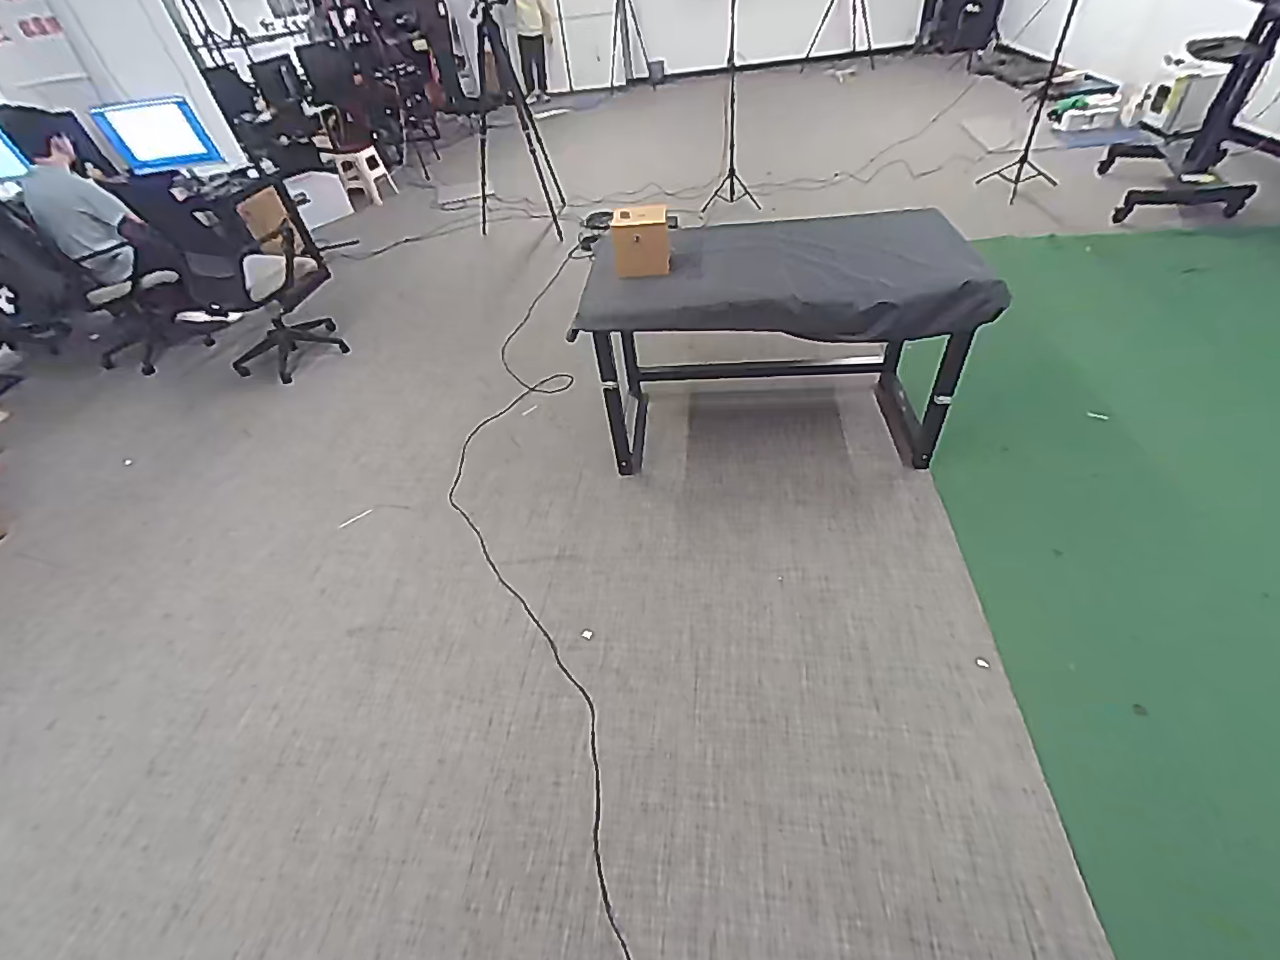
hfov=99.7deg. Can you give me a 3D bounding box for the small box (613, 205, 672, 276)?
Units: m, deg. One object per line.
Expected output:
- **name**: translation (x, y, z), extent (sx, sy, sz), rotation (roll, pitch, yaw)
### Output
- **small box**: translation (0.013, -0.788, 1.788), extent (0.179, 0.176, 0.168), rotation (-1, 44, 6)
